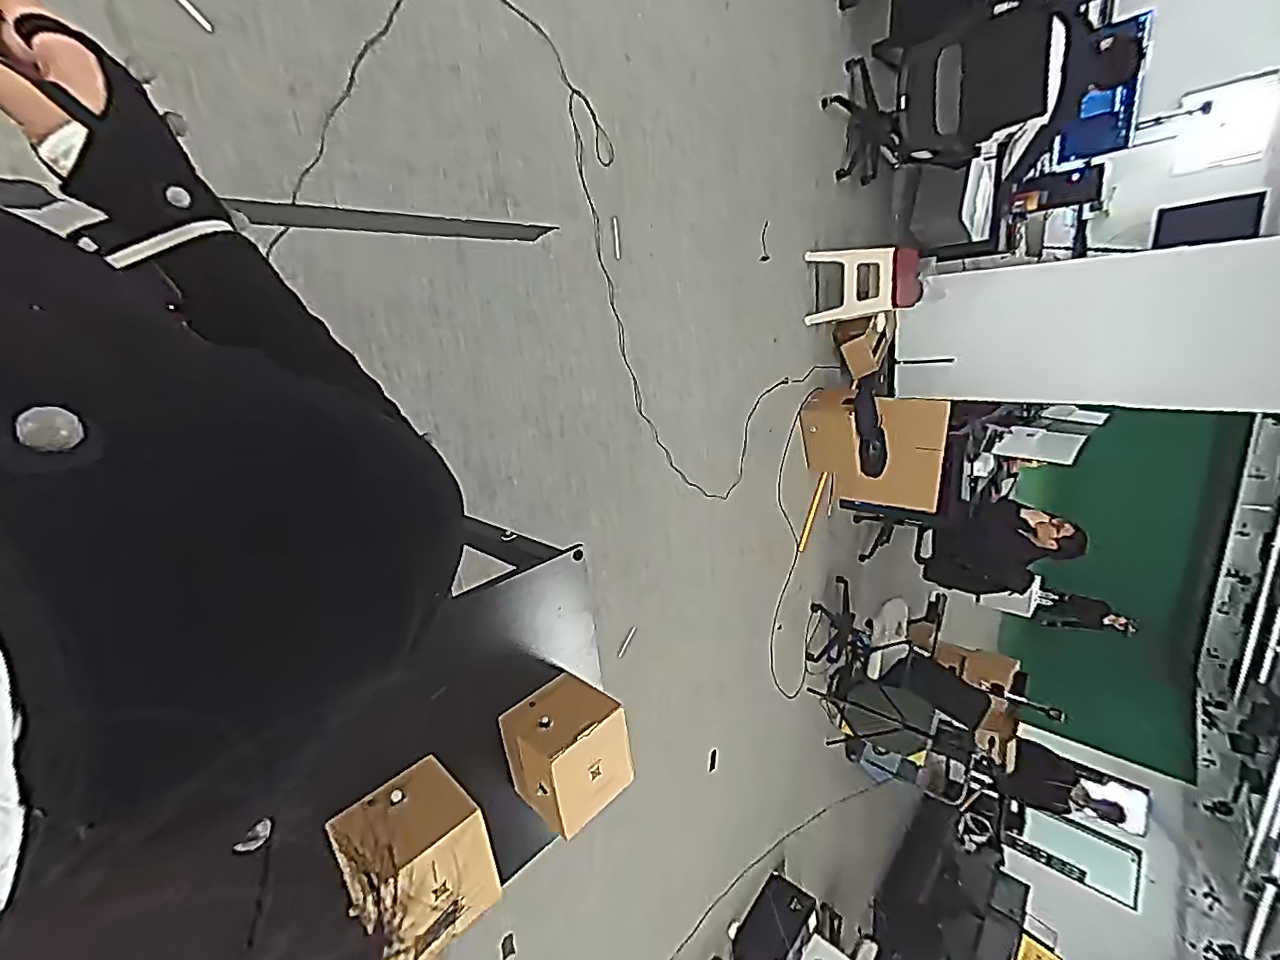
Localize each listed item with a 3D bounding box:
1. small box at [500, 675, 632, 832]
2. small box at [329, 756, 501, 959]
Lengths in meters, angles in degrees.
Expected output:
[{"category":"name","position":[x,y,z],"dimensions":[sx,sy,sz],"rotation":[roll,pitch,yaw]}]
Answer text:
[{"category":"small box","position":[-0.140,0.491,1.009],"dimensions":[0.168,0.176,0.179],"rotation":[-24,115,-40]},{"category":"small box","position":[-0.337,0.563,0.814],"dimensions":[0.168,0.176,0.179],"rotation":[-23,113,-42]}]
